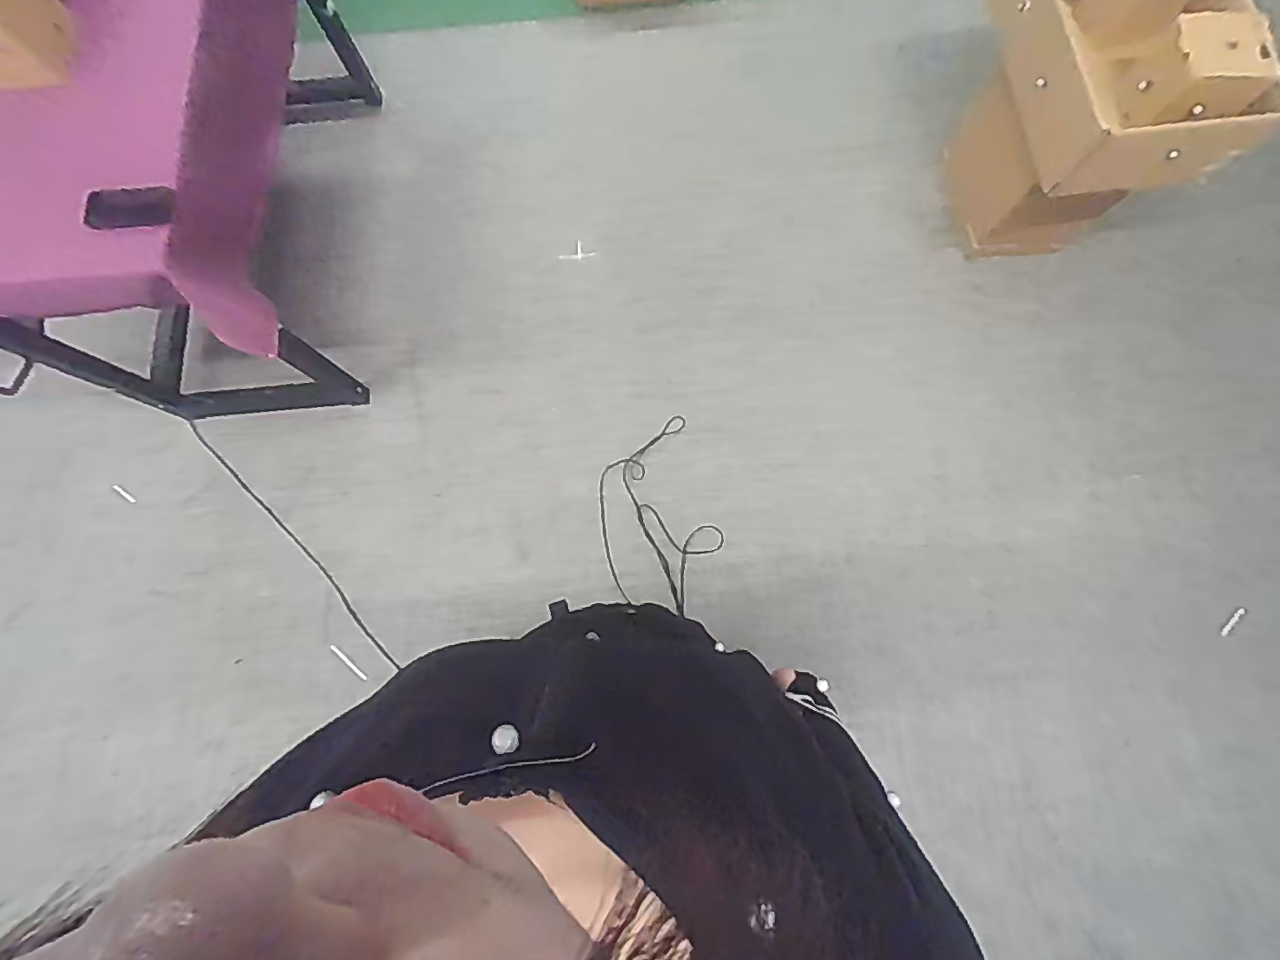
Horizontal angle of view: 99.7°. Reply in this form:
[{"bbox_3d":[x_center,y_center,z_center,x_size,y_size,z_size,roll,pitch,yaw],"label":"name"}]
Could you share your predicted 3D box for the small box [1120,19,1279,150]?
[{"bbox_3d":[1.198,-0.851,1.176,0.179,0.176,0.168,1,77,4],"label":"small box"}]
